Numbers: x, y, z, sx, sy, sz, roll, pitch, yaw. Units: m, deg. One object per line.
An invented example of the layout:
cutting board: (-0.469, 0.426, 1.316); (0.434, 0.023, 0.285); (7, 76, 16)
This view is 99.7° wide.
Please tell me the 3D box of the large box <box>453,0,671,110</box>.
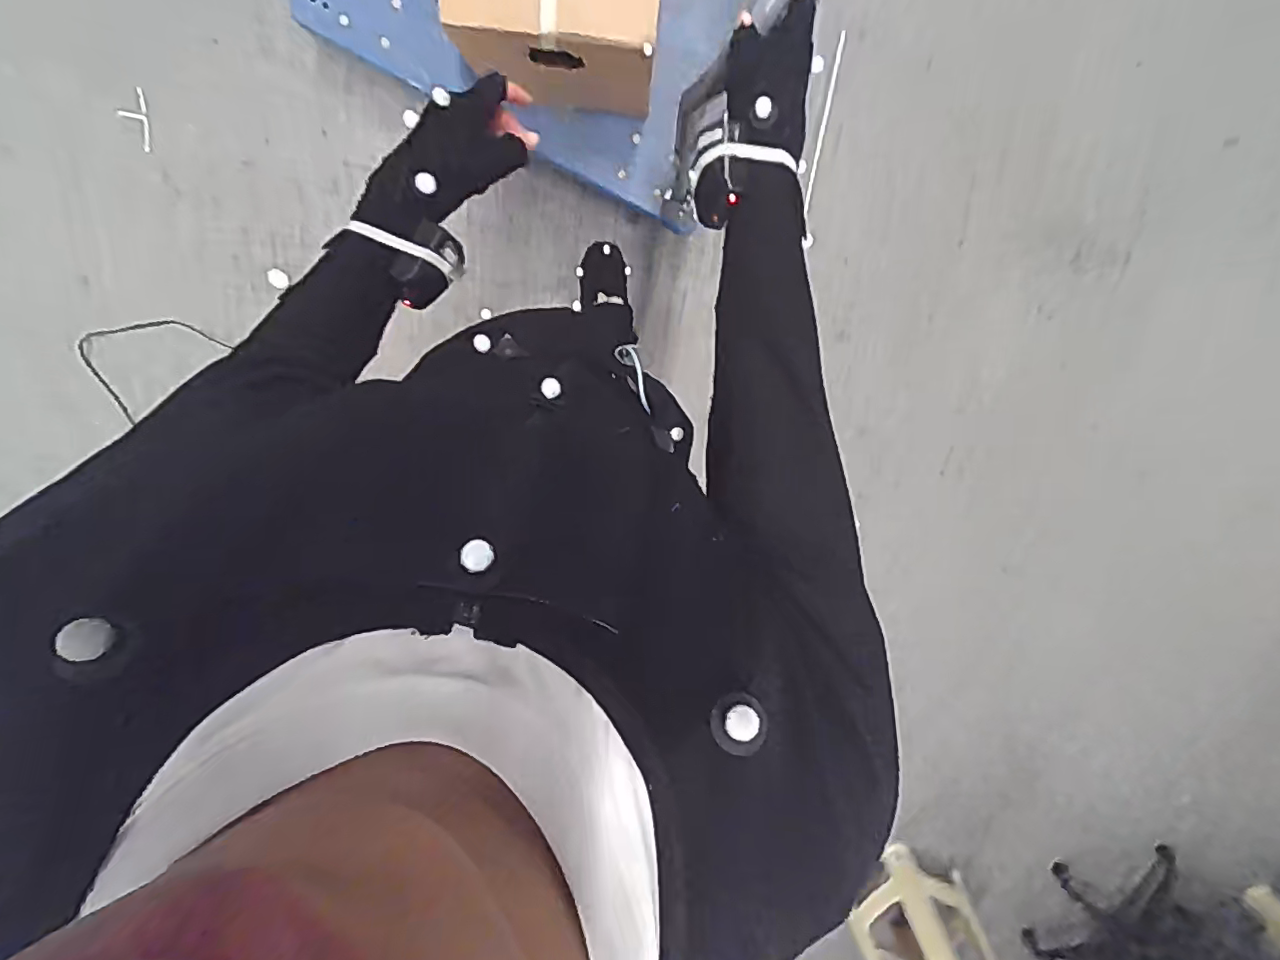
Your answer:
large box: (-0.102, -0.880, 0.855); (0.320, 0.320, 0.408); (5, 109, -3)
